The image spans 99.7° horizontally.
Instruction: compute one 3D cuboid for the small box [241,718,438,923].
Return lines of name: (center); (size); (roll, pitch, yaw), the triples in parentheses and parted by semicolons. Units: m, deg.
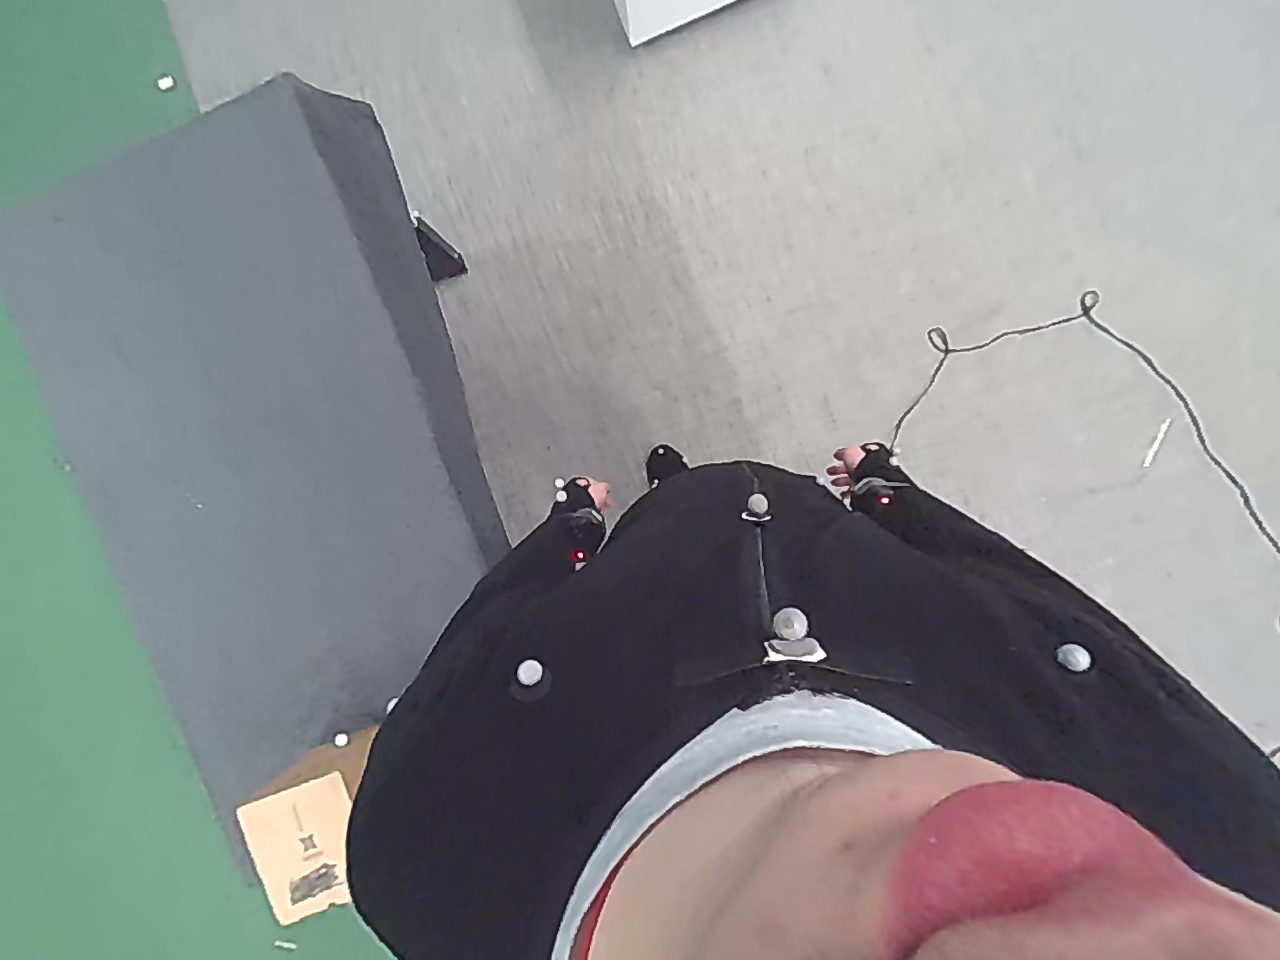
small box: (-0.435, 0.498, 0.813); (0.168, 0.176, 0.179); (-22, 90, 4)
